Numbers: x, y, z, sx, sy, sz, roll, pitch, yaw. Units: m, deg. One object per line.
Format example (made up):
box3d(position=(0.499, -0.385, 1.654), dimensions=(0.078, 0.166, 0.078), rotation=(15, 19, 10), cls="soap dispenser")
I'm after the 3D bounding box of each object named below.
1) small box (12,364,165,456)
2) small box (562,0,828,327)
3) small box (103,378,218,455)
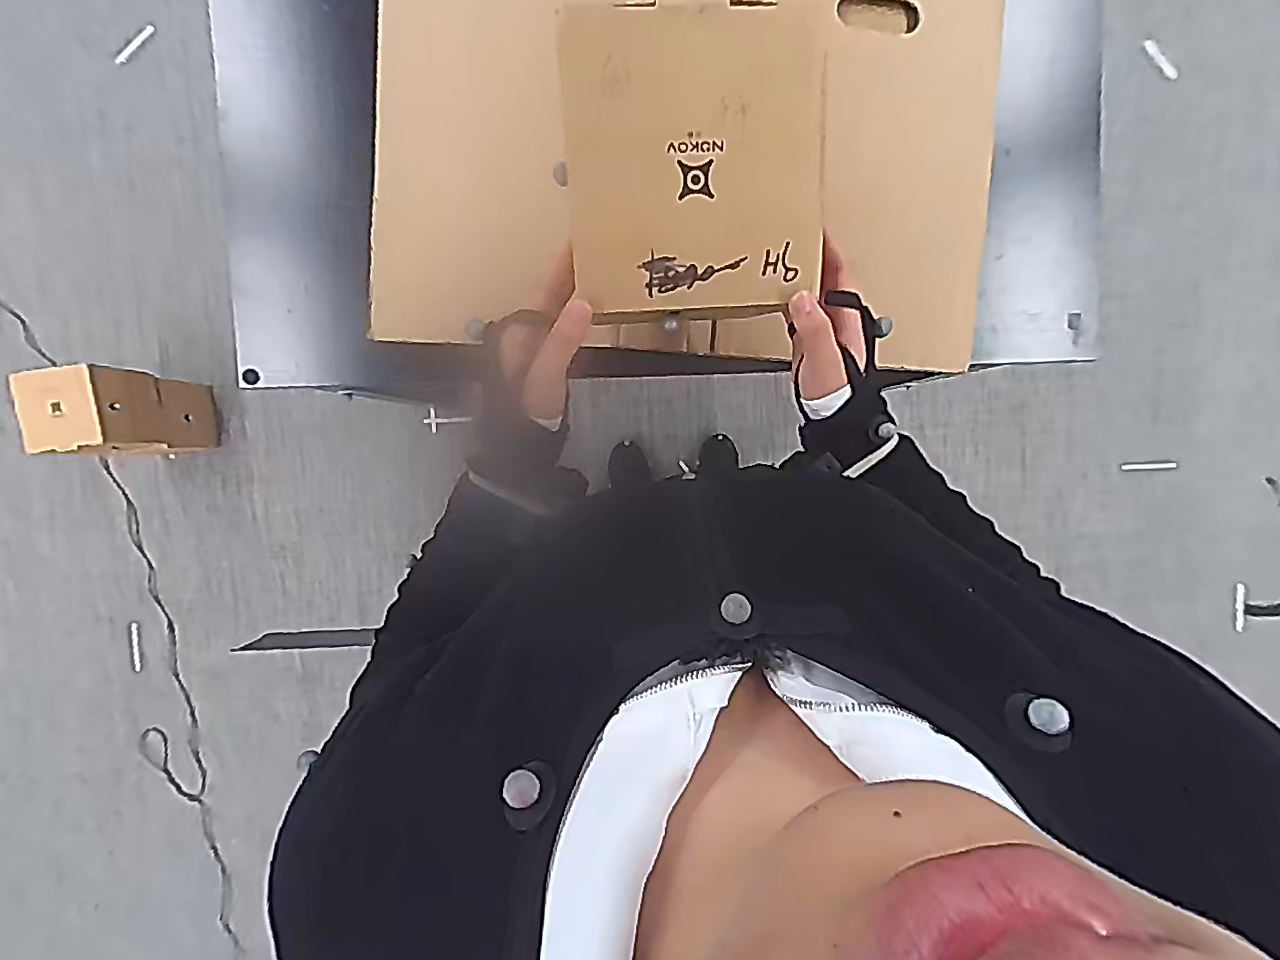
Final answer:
box3d(position=(-1.235, -0.154, 1.227), dimensions=(0.168, 0.176, 0.179), rotation=(-9, 92, -1), cls="small box")
box3d(position=(0.032, -0.217, 0.418), dimensions=(0.168, 0.176, 0.179), rotation=(-4, 103, -2), cls="small box")
box3d(position=(-1.235, -0.157, 1.389), dimensions=(0.168, 0.176, 0.179), rotation=(-6, 94, 0), cls="small box")
